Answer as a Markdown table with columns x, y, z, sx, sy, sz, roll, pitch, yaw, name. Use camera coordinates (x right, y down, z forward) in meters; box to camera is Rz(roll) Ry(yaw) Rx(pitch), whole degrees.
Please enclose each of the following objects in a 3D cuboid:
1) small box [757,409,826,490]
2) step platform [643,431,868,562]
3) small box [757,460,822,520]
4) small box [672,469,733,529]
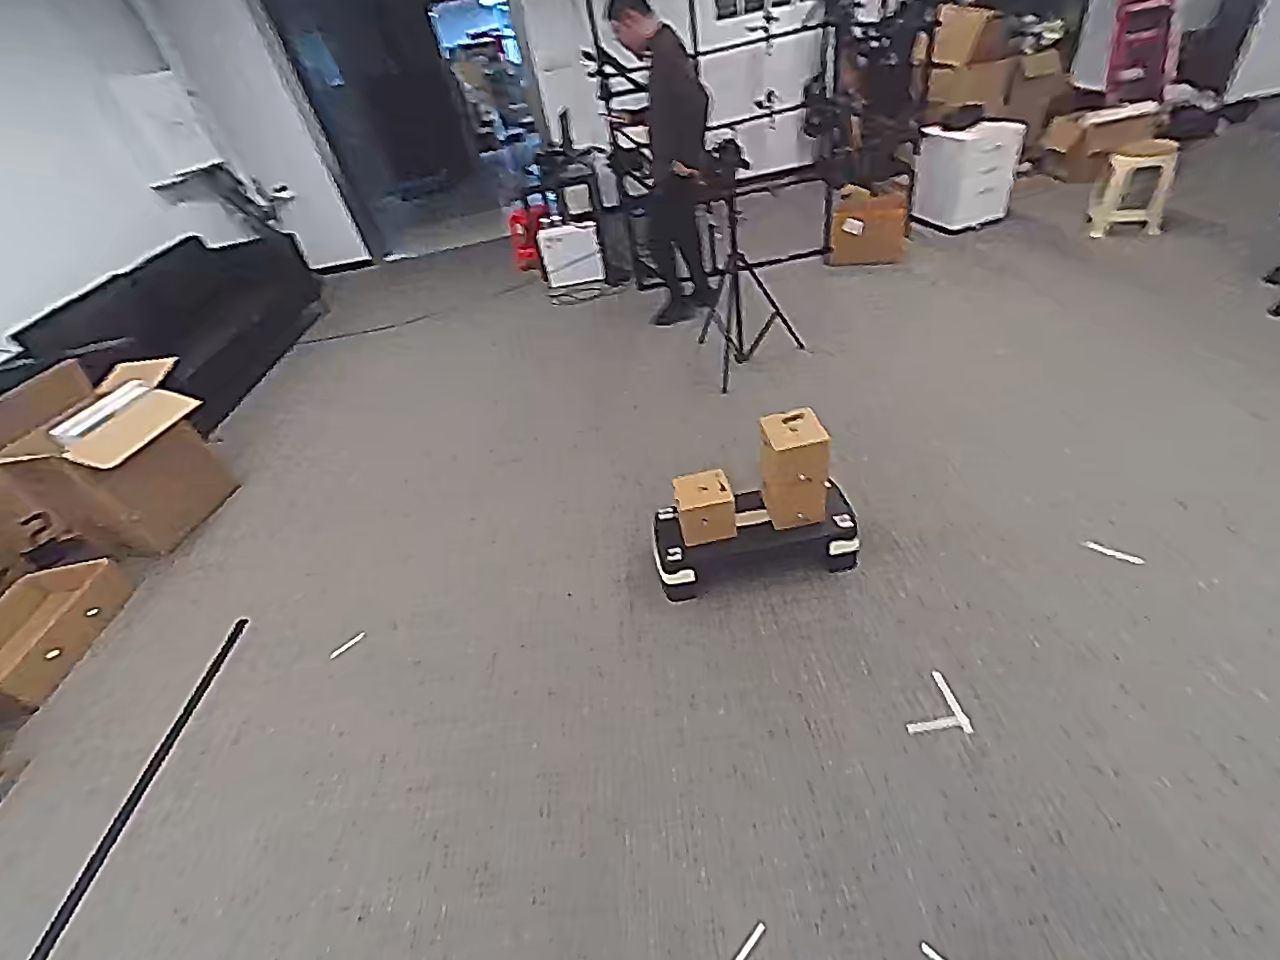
| x | y | z | sx | sy | sz | roll | pitch | yaw | name |
| --- | --- | --- | --- | --- | --- | --- | --- | --- | --- |
| 0.470 | -0.094 | 1.697 | 0.168 | 0.176 | 0.179 | -13 | 40 | 2 | small box |
| 0.361 | 0.057 | 1.754 | 0.684 | 0.204 | 0.286 | -11 | 39 | 2 | step platform |
| 0.492 | 0.034 | 1.799 | 0.168 | 0.176 | 0.179 | -13 | 40 | 2 | small box |
| 0.208 | 0.093 | 1.810 | 0.179 | 0.176 | 0.168 | -13 | 40 | 1 | small box |
